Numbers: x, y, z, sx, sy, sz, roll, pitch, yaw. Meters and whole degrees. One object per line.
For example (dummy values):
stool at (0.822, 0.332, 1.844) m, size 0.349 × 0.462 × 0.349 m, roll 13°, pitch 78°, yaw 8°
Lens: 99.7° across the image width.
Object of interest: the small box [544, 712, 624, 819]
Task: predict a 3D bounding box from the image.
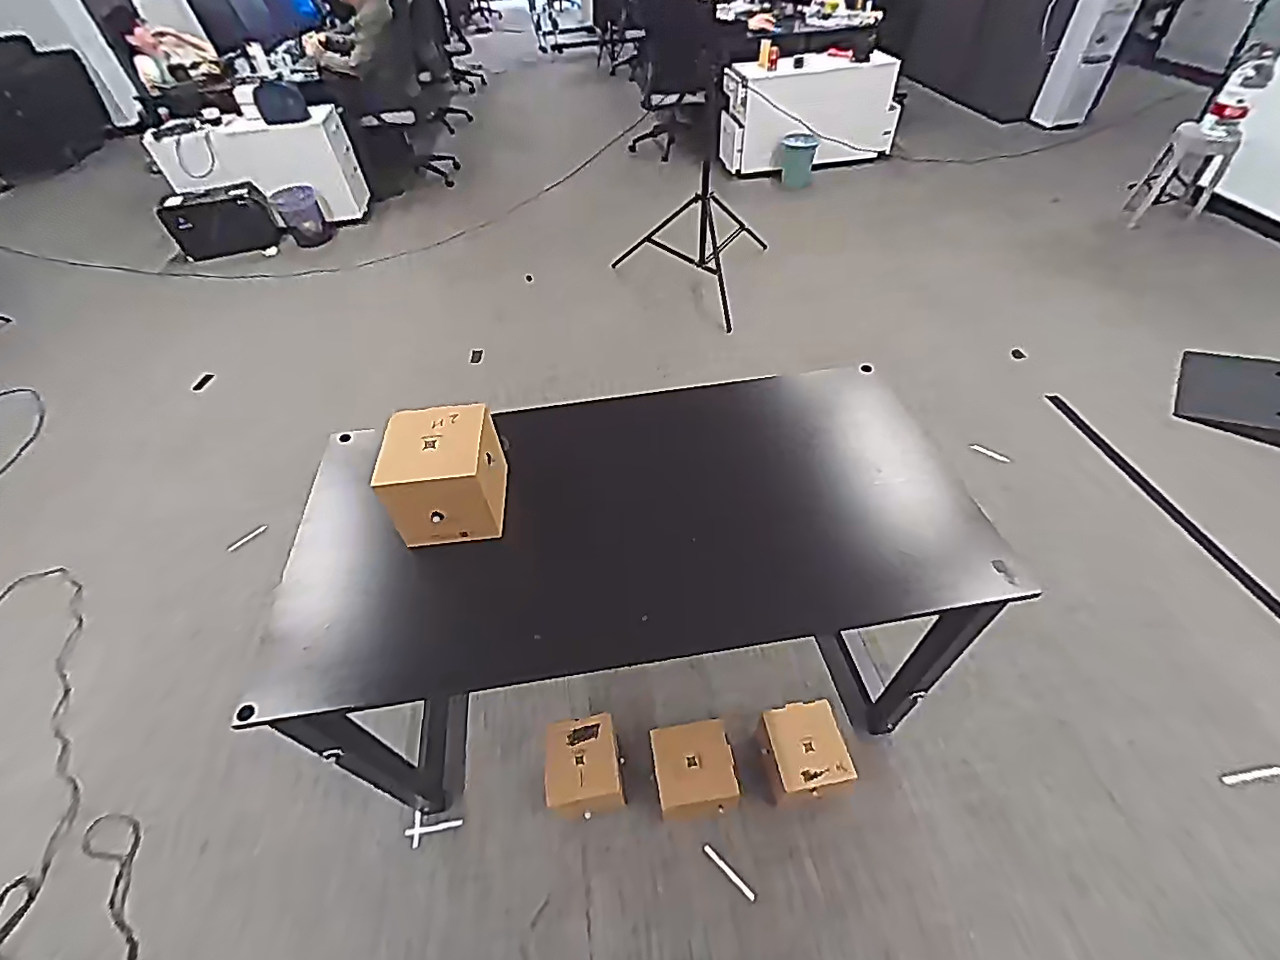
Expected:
small box at (-0.133, 0.686, 1.296) m, size 0.168 × 0.176 × 0.179 m, roll -9°, pitch 49°, yaw -4°

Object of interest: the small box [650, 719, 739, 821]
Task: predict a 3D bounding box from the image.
small box at (0.124, 0.687, 1.279) m, size 0.179 × 0.176 × 0.168 m, roll -9°, pitch 48°, yaw -2°

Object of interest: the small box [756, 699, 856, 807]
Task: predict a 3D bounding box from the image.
small box at (0.384, 0.651, 1.289) m, size 0.168 × 0.176 × 0.179 m, roll -10°, pitch 48°, yaw -4°

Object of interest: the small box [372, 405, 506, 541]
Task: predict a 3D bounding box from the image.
small box at (-0.339, -0.005, 0.951) m, size 0.168 × 0.176 × 0.179 m, roll -6°, pitch 48°, yaw -2°
